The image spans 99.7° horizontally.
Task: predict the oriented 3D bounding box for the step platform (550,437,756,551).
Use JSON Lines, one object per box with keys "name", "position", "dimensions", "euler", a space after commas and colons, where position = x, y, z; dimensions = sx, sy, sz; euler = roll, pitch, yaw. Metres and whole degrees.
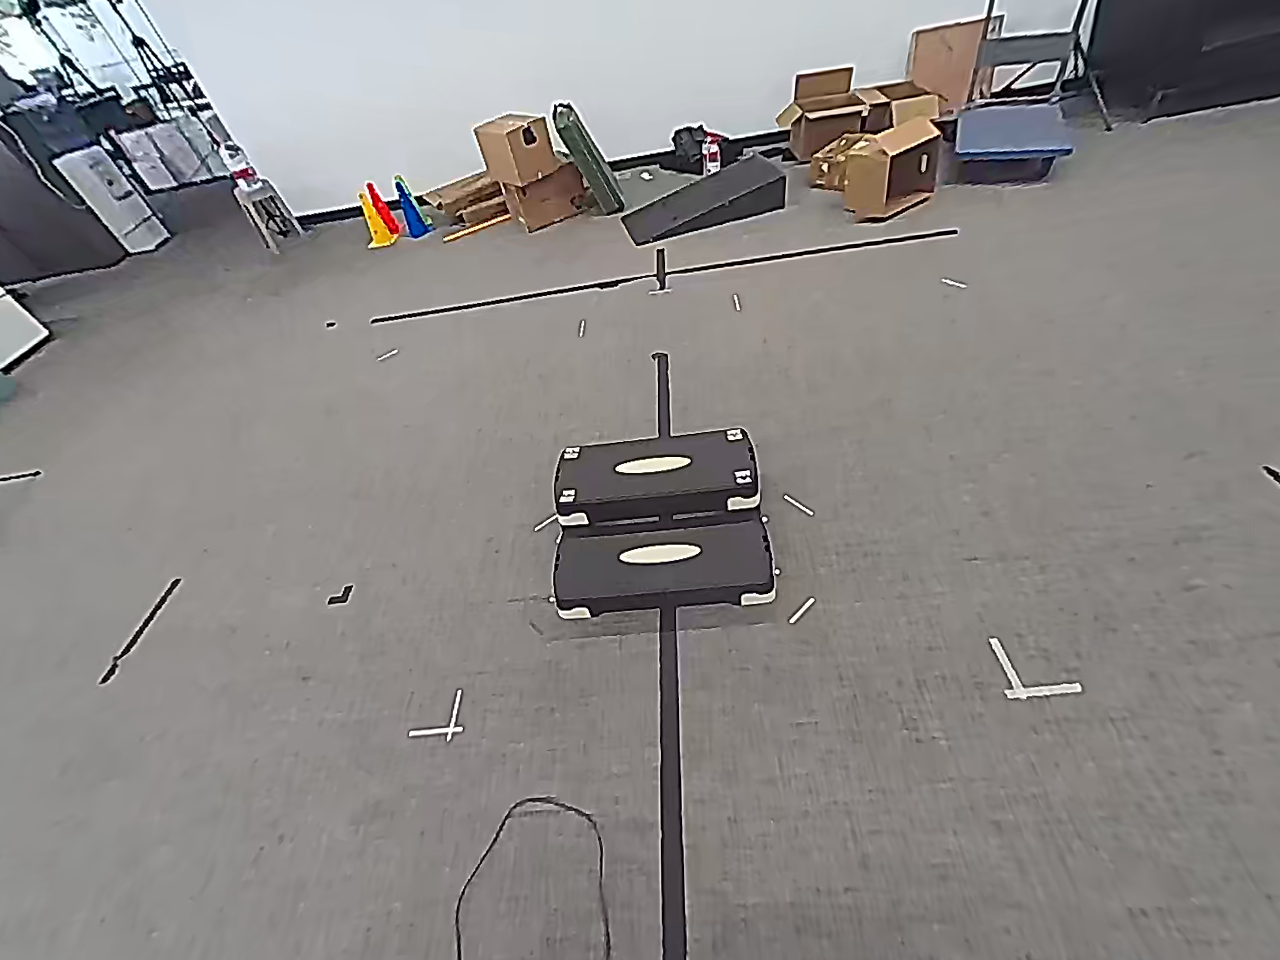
{"name": "step platform", "position": [0.041, 0.042, 1.828], "dimensions": [0.684, 0.204, 0.286], "euler": [-6, 47, 5]}
